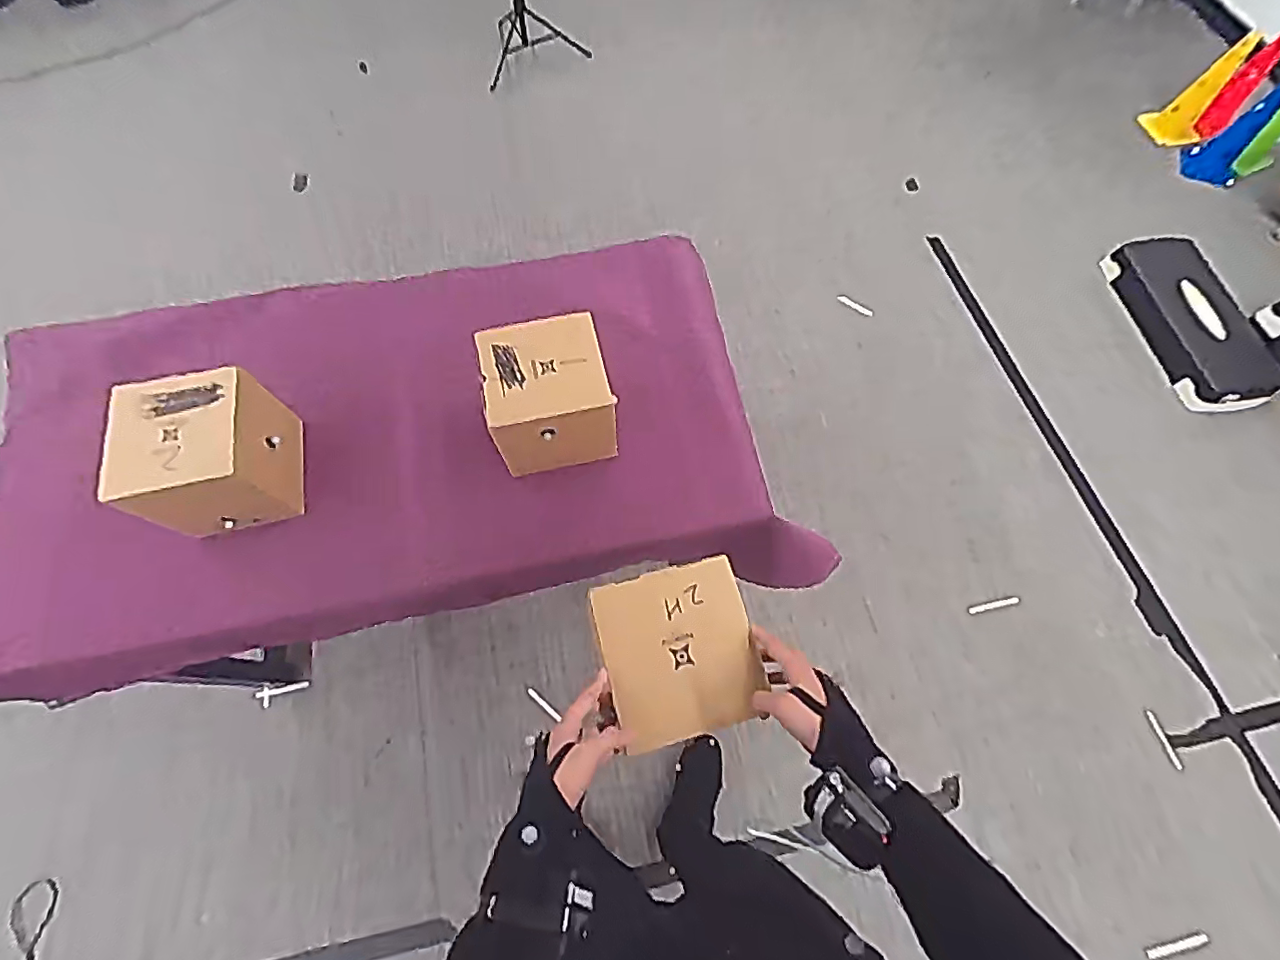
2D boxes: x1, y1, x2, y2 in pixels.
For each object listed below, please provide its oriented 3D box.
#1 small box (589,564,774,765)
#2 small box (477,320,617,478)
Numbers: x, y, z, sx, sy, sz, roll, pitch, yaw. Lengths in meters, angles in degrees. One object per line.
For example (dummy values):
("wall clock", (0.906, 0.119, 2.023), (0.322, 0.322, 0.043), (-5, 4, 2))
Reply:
("small box", (0.037, 0.219, 0.652), (0.168, 0.176, 0.179), (-12, 69, -10))
("small box", (-0.138, -0.117, 0.839), (0.179, 0.176, 0.168), (-12, 67, -6))
